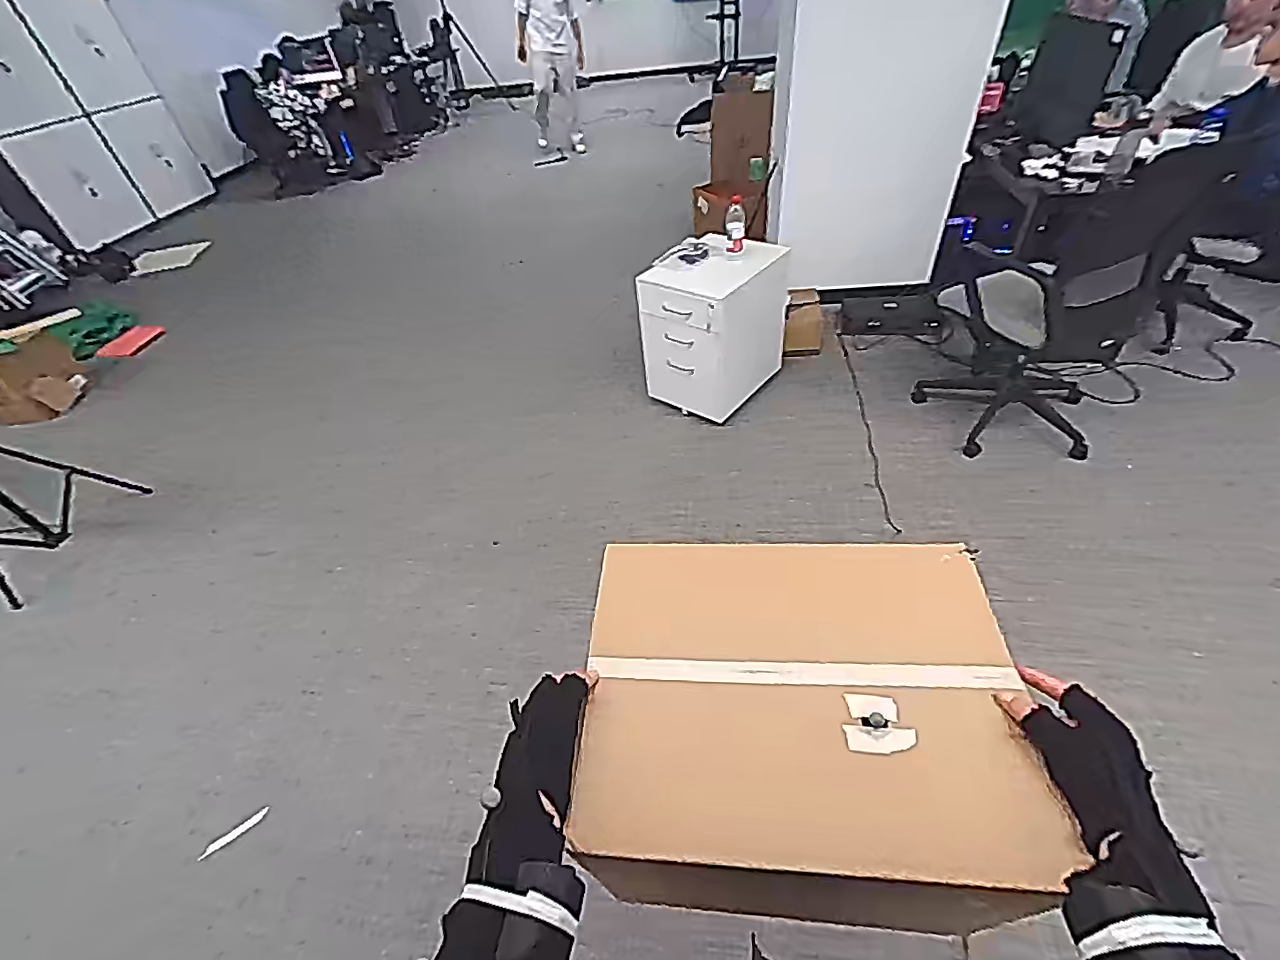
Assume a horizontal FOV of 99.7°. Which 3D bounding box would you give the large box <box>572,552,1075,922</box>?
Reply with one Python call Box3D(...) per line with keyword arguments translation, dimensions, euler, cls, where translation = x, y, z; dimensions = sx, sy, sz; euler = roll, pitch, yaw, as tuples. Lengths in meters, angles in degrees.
Box3D(translation=(0.162, 0.300, 0.641), dimensions=(0.408, 0.320, 0.320), euler=(-1, 47, 8), cls="large box")
